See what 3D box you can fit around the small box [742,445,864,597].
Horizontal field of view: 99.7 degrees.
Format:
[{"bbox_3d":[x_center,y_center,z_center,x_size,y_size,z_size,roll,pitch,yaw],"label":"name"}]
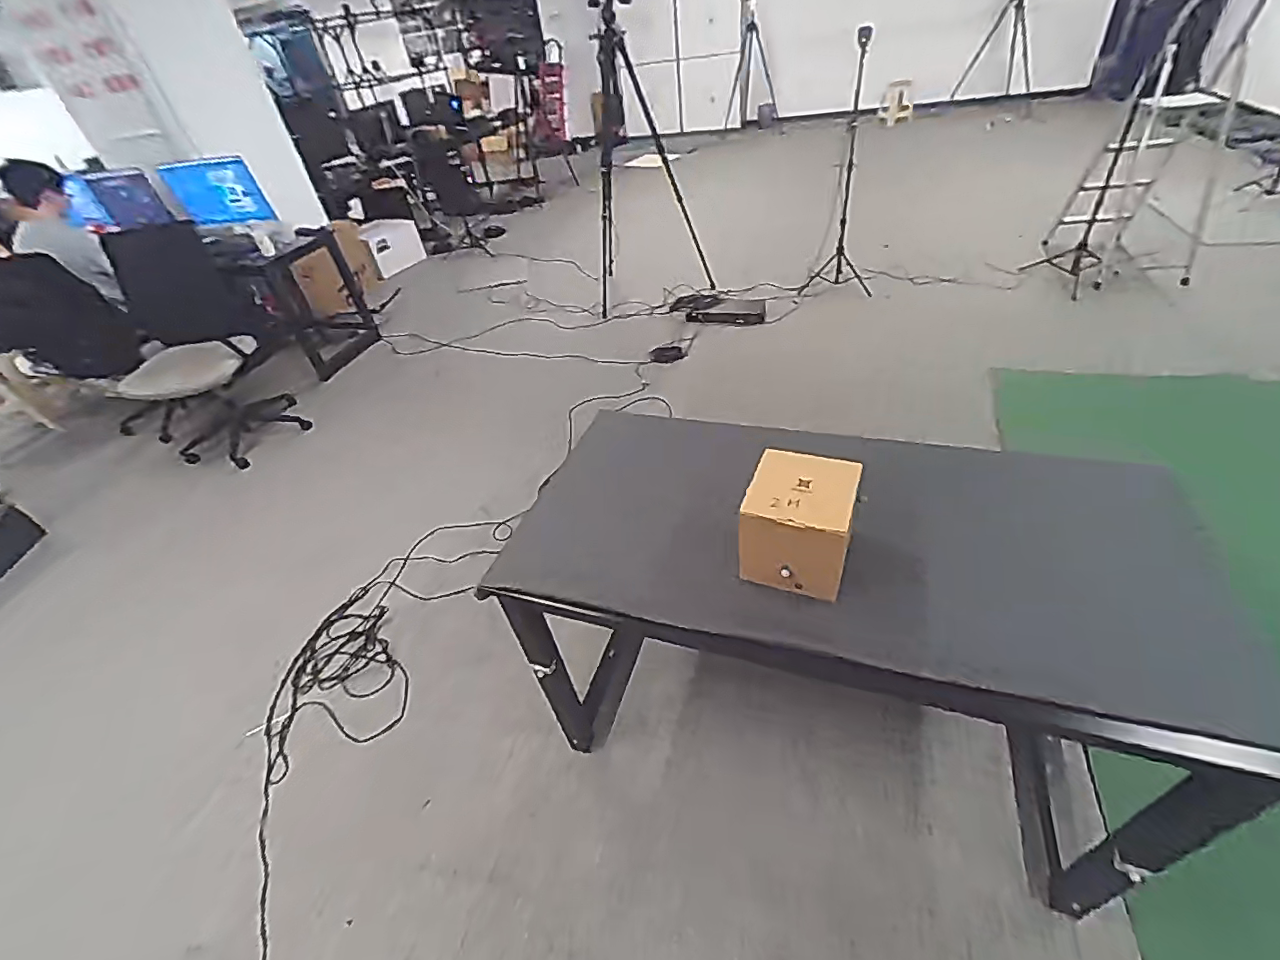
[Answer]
[{"bbox_3d":[0.276,0.067,0.929,0.168,0.176,0.179,11,43,23],"label":"small box"}]
